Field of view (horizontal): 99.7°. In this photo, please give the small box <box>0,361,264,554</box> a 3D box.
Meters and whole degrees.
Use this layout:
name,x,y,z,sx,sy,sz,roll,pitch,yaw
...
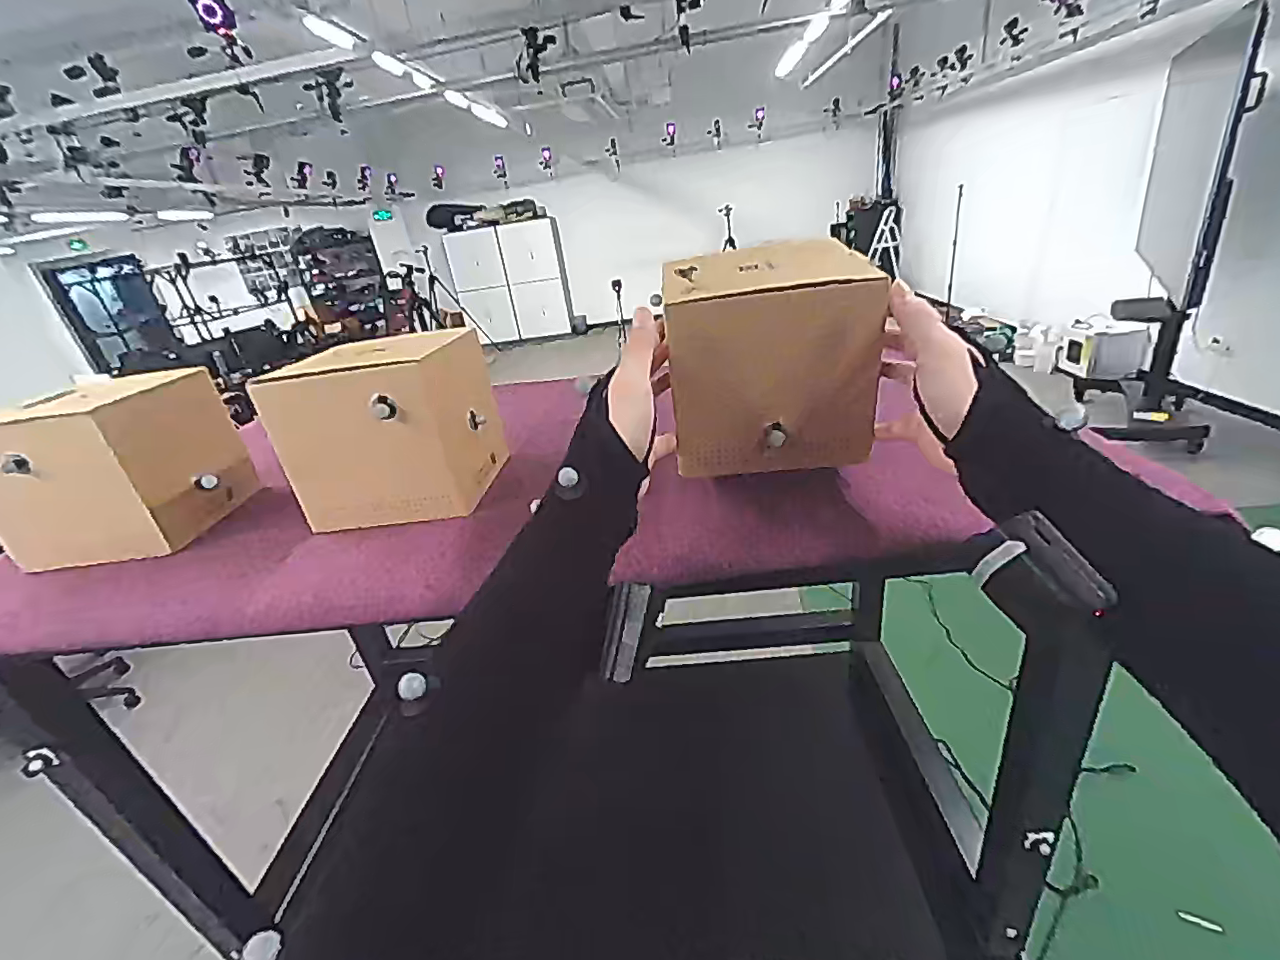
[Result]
name,x,y,z,sx,sy,sz,roll,pitch,yaw
small box,-0.597,-0.027,0.629,0.179,0.176,0.168,-7,26,3

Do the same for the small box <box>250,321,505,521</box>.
name,x,y,z,sx,sy,sz,roll,pitch,yaw
small box,-0.268,-0.069,0.606,0.179,0.176,0.168,-6,25,7
